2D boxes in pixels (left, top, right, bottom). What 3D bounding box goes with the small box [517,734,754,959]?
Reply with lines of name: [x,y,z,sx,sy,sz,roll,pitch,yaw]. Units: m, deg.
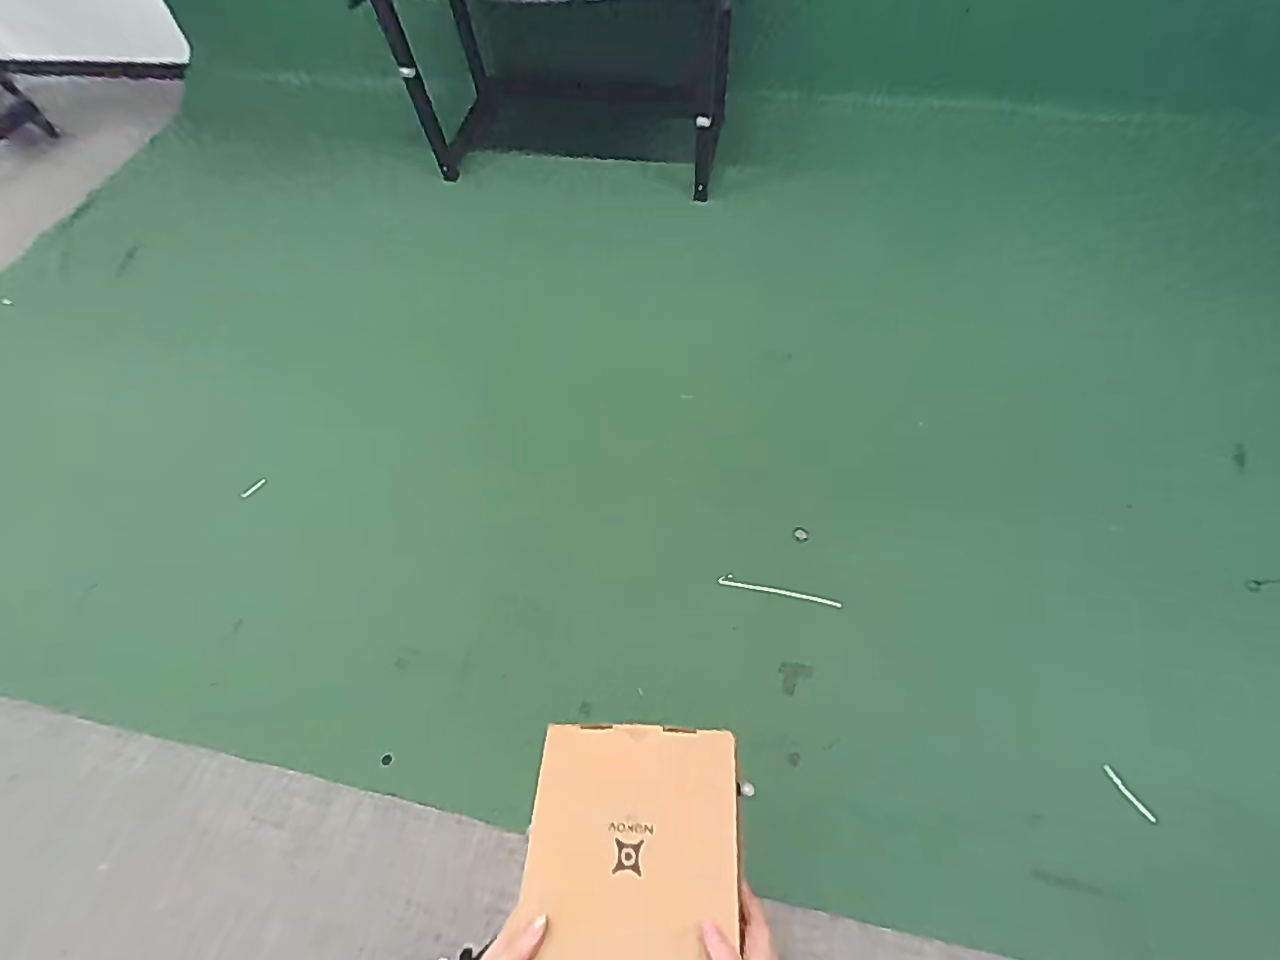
small box: [0.011,0.338,0.475,0.168,0.176,0.179,-4,52,11]
